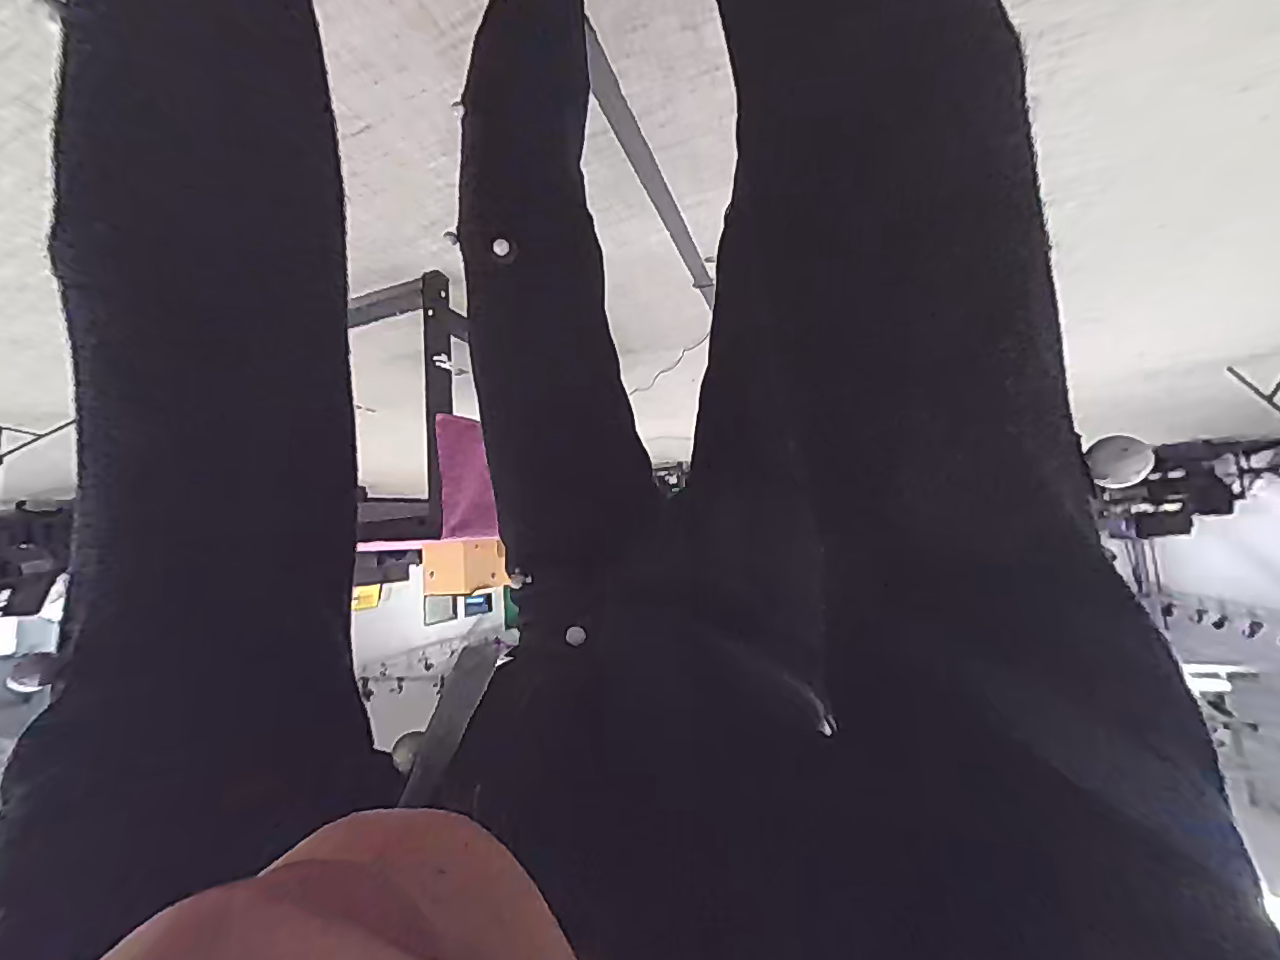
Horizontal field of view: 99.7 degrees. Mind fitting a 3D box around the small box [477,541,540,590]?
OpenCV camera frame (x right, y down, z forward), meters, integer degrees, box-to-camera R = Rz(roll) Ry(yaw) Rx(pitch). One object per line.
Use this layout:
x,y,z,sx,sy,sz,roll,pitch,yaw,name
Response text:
-0.498,0.318,2.037,0.179,0.176,0.168,-7,172,22,small box
